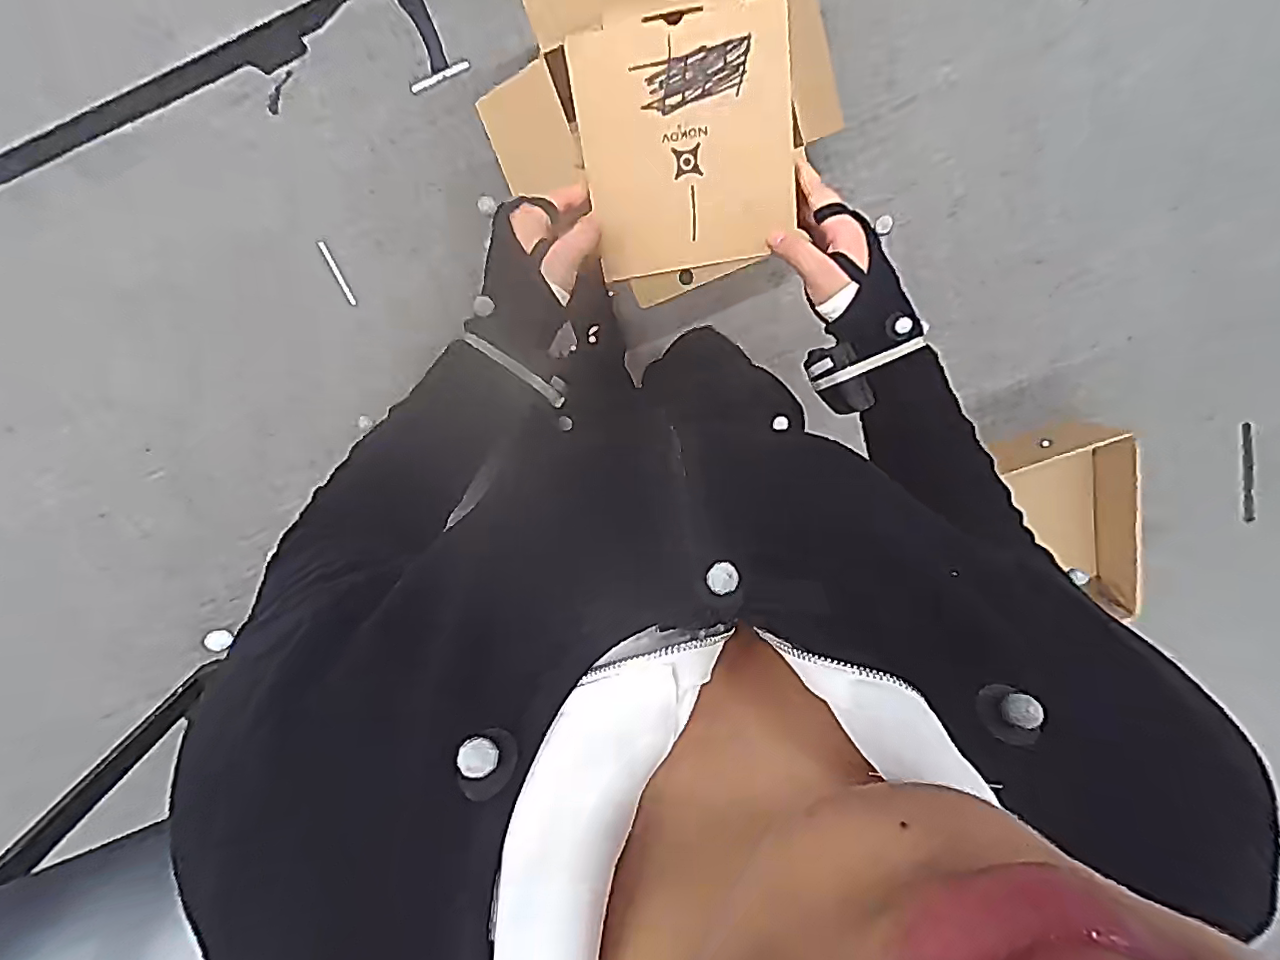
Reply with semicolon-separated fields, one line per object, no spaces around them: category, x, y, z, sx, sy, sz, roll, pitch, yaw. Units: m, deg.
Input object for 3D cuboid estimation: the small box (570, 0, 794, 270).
small box;0.038;-0.298;0.503;0.168;0.176;0.179;-8;112;4
